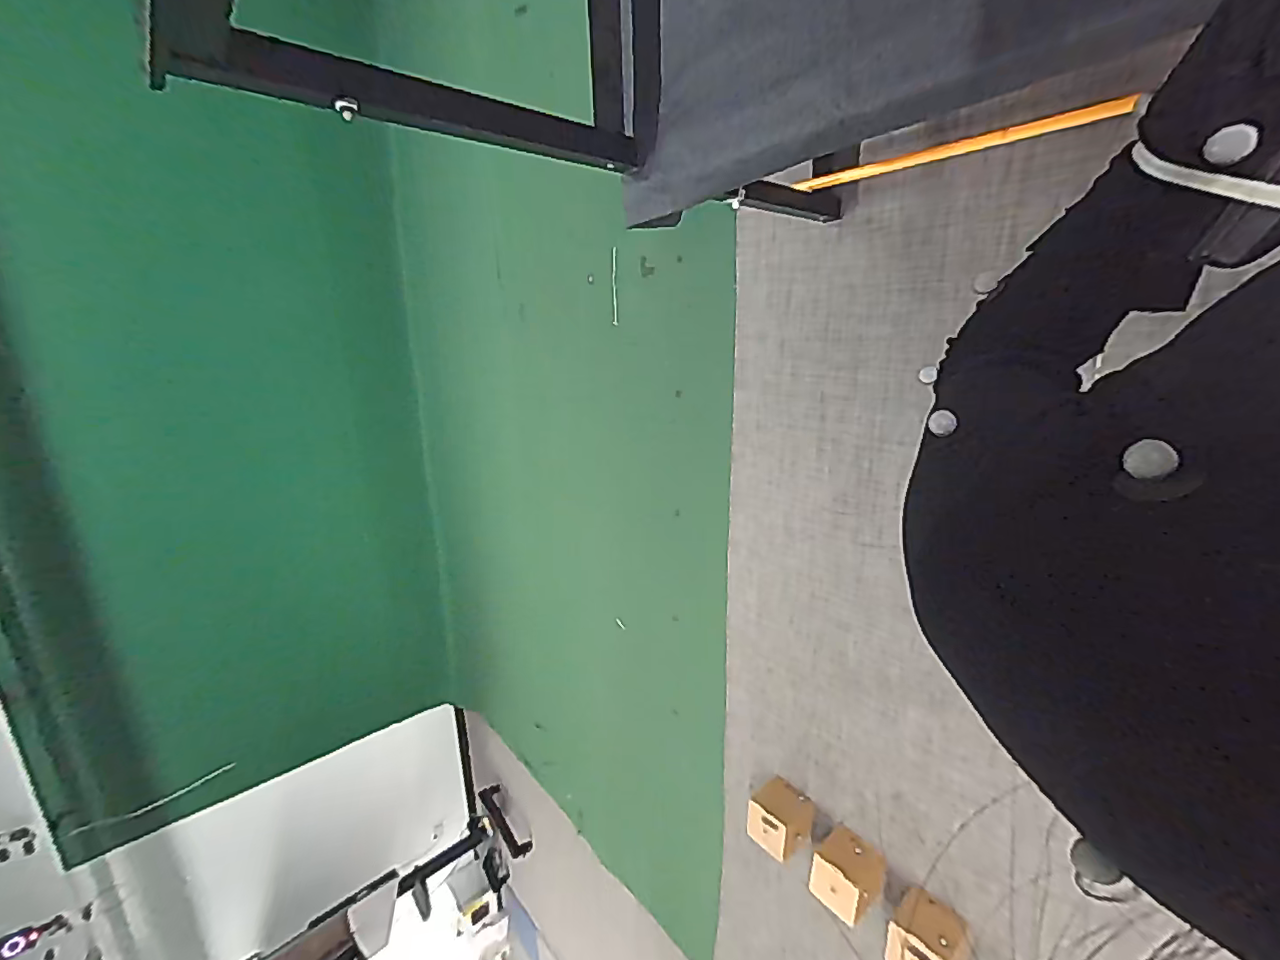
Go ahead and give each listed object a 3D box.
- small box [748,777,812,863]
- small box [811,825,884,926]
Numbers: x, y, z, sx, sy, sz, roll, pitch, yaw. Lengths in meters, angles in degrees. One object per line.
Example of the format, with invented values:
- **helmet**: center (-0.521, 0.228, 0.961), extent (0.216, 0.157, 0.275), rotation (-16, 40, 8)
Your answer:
- **small box**: center (0.523, 1.255, 2.012), extent (0.168, 0.176, 0.179), rotation (18, 115, 47)
- **small box**: center (0.699, 1.324, 1.821), extent (0.168, 0.176, 0.179), rotation (19, 114, 46)
